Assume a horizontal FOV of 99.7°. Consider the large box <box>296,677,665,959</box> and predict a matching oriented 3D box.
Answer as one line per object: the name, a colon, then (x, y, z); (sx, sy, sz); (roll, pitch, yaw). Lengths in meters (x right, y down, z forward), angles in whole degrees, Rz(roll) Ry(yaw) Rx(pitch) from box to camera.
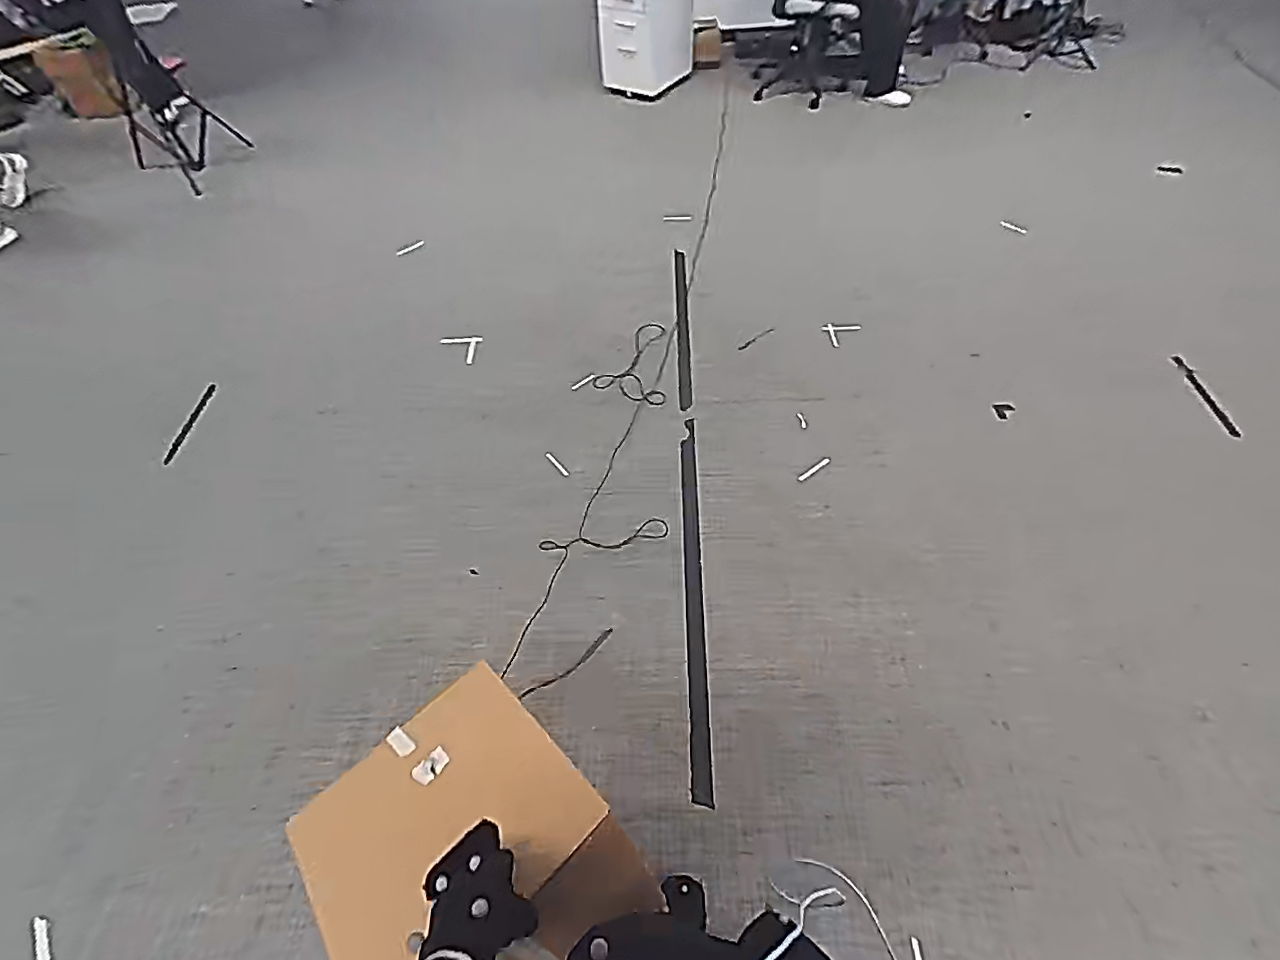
large box: (-0.208, 0.578, 0.801); (0.320, 0.408, 0.320); (-38, 44, -25)
